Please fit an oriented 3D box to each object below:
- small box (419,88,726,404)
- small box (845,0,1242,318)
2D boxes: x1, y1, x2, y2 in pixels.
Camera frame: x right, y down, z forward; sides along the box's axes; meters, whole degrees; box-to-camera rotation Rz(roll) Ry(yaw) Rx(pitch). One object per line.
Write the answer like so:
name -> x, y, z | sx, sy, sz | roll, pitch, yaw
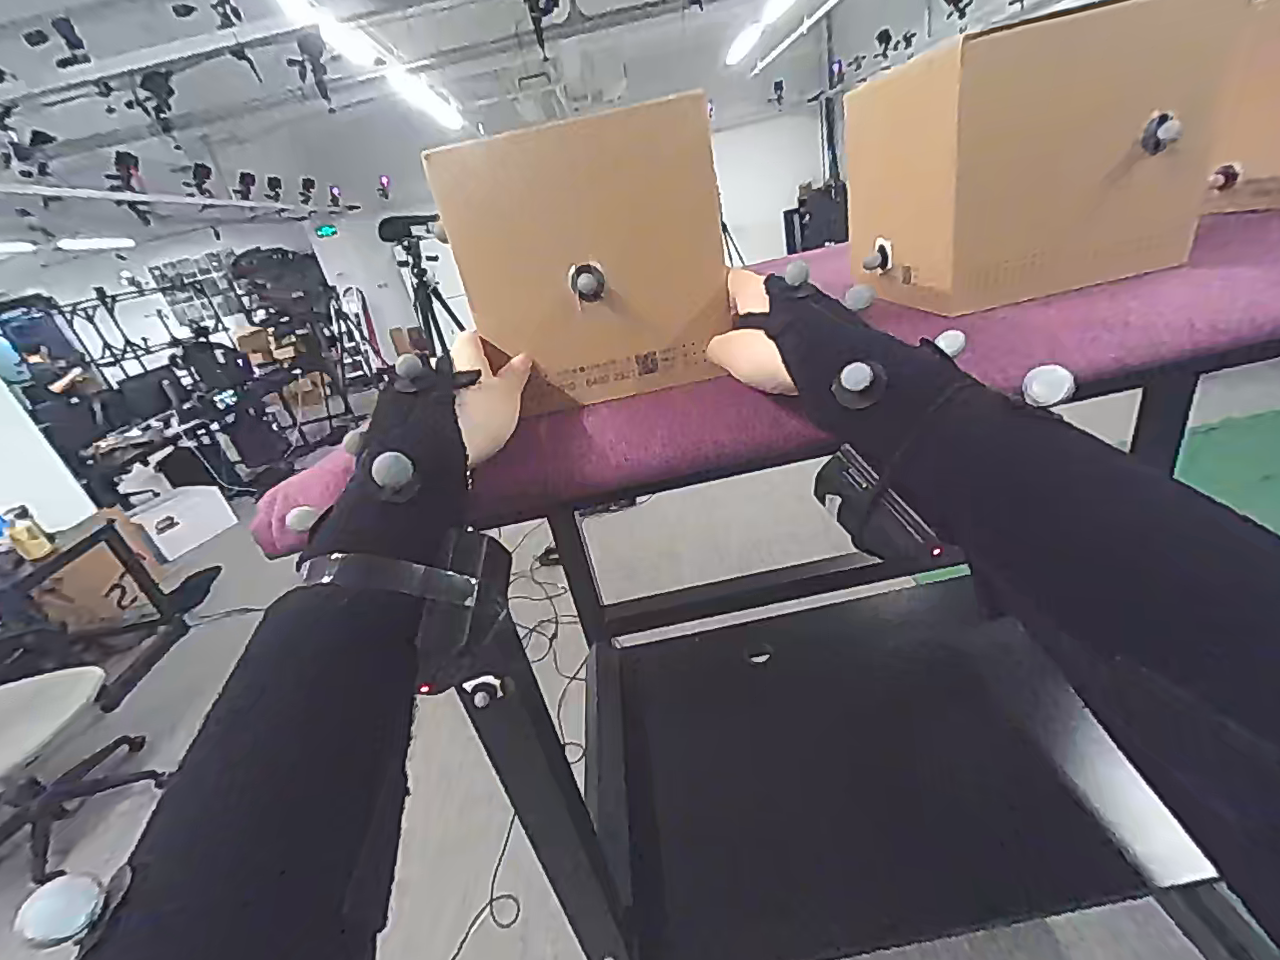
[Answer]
small box -> -0.037, -0.167, 0.412 | 0.168, 0.176, 0.179 | -11, 27, 1
small box -> 0.278, -0.239, 0.421 | 0.179, 0.176, 0.168 | -14, 26, 0
